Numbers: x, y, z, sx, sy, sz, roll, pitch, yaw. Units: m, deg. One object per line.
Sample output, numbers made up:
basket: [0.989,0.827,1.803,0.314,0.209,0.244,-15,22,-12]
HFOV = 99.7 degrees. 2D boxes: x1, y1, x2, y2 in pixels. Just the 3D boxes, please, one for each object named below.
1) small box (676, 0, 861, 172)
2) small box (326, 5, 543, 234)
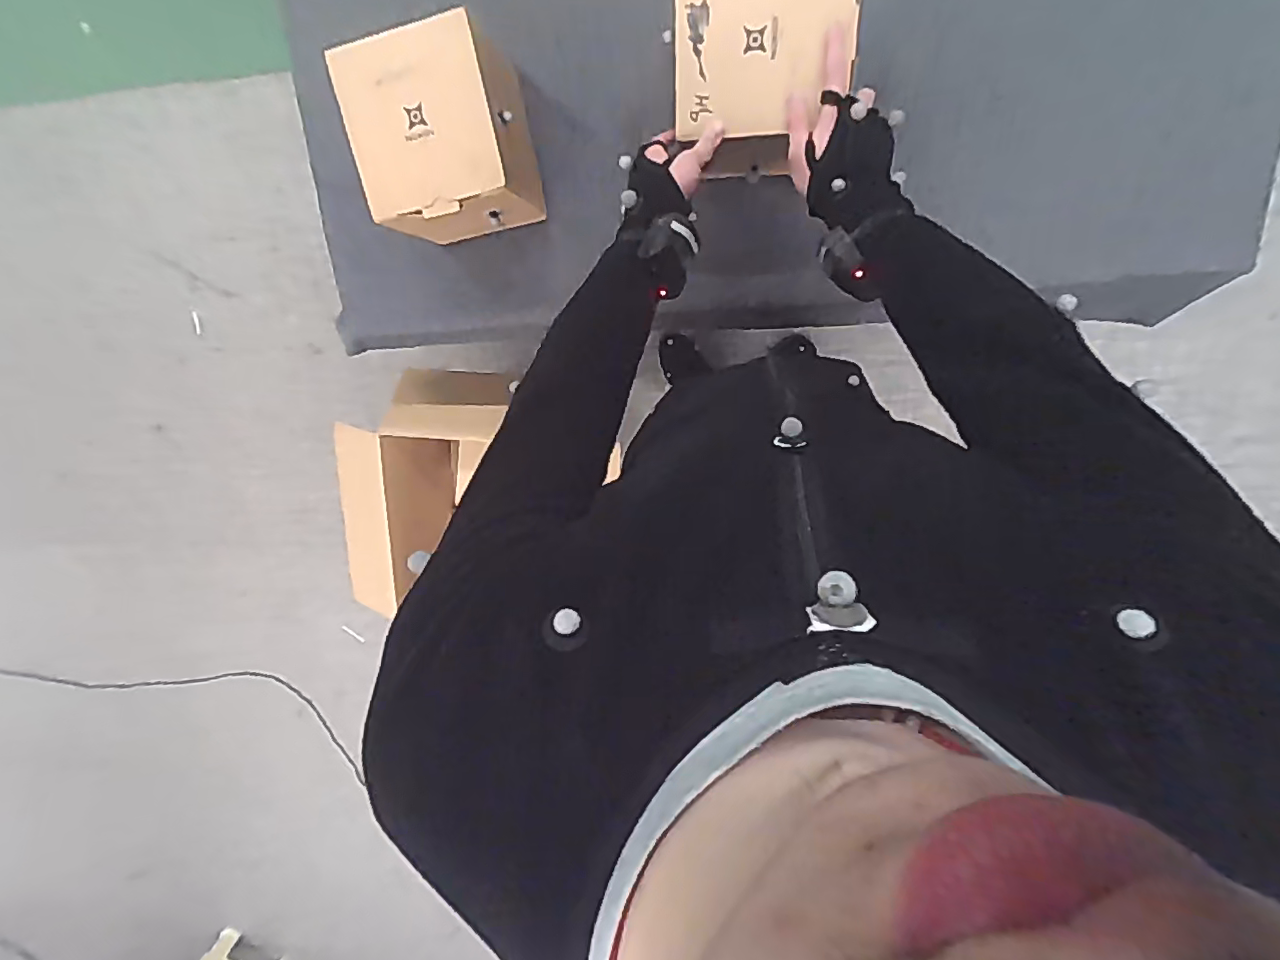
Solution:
small box: [0.130,-0.455,0.600,0.179,0.176,0.168,1,107,7]
small box: [-0.232,-0.414,0.663,0.168,0.176,0.179,-10,103,9]
